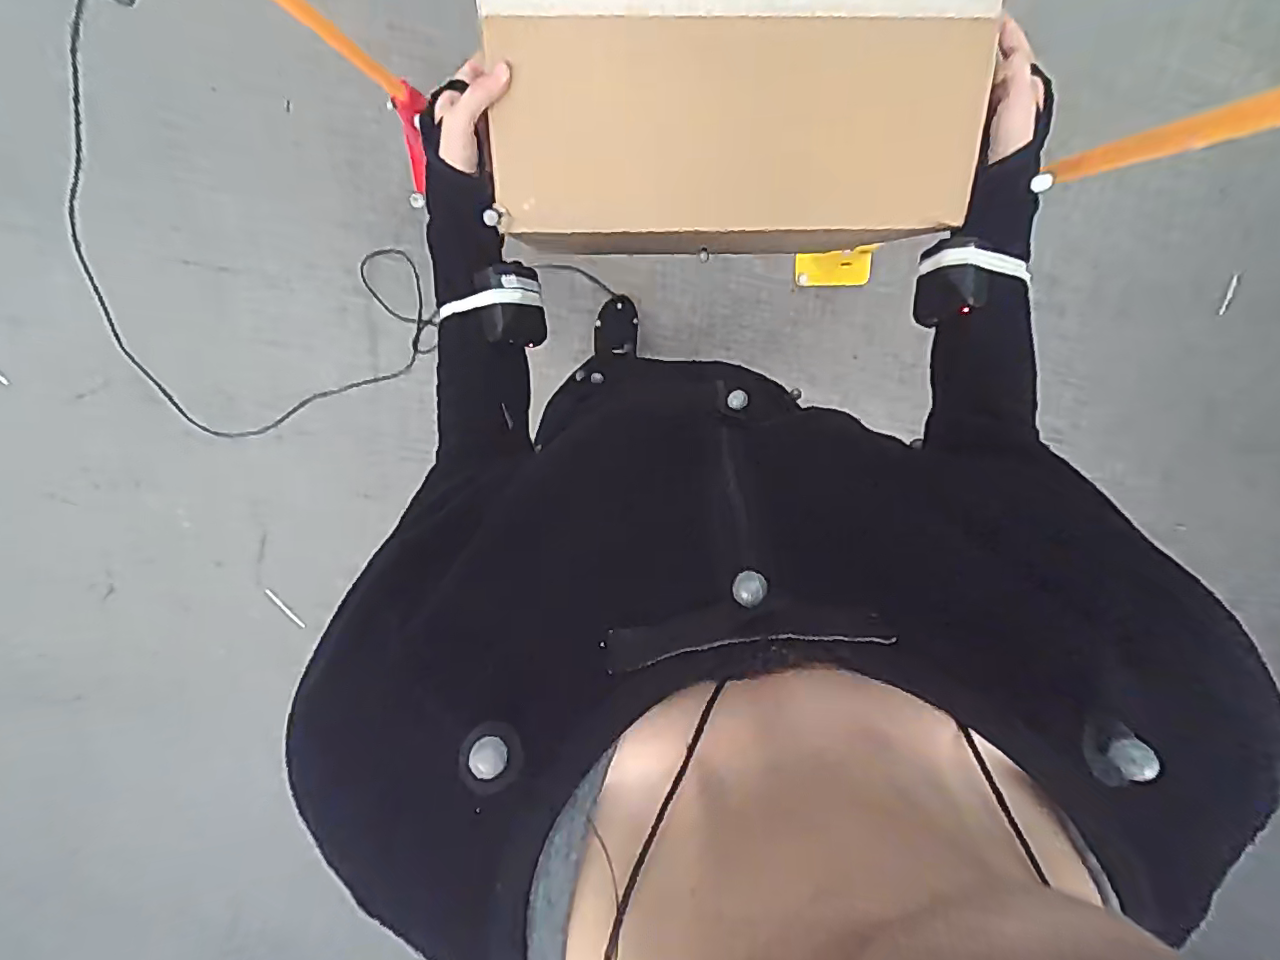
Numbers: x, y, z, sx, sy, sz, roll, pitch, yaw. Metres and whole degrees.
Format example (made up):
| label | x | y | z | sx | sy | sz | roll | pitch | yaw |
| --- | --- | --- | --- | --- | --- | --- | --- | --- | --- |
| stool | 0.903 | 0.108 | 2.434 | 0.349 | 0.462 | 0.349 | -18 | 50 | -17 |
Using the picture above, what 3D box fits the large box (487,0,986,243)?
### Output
| label | x | y | z | sx | sy | sz | roll | pitch | yaw |
| --- | --- | --- | --- | --- | --- | --- | --- | --- | --- |
| large box | 0.074 | -0.426 | 0.564 | 0.408 | 0.320 | 0.320 | -2 | 109 | -2 |
